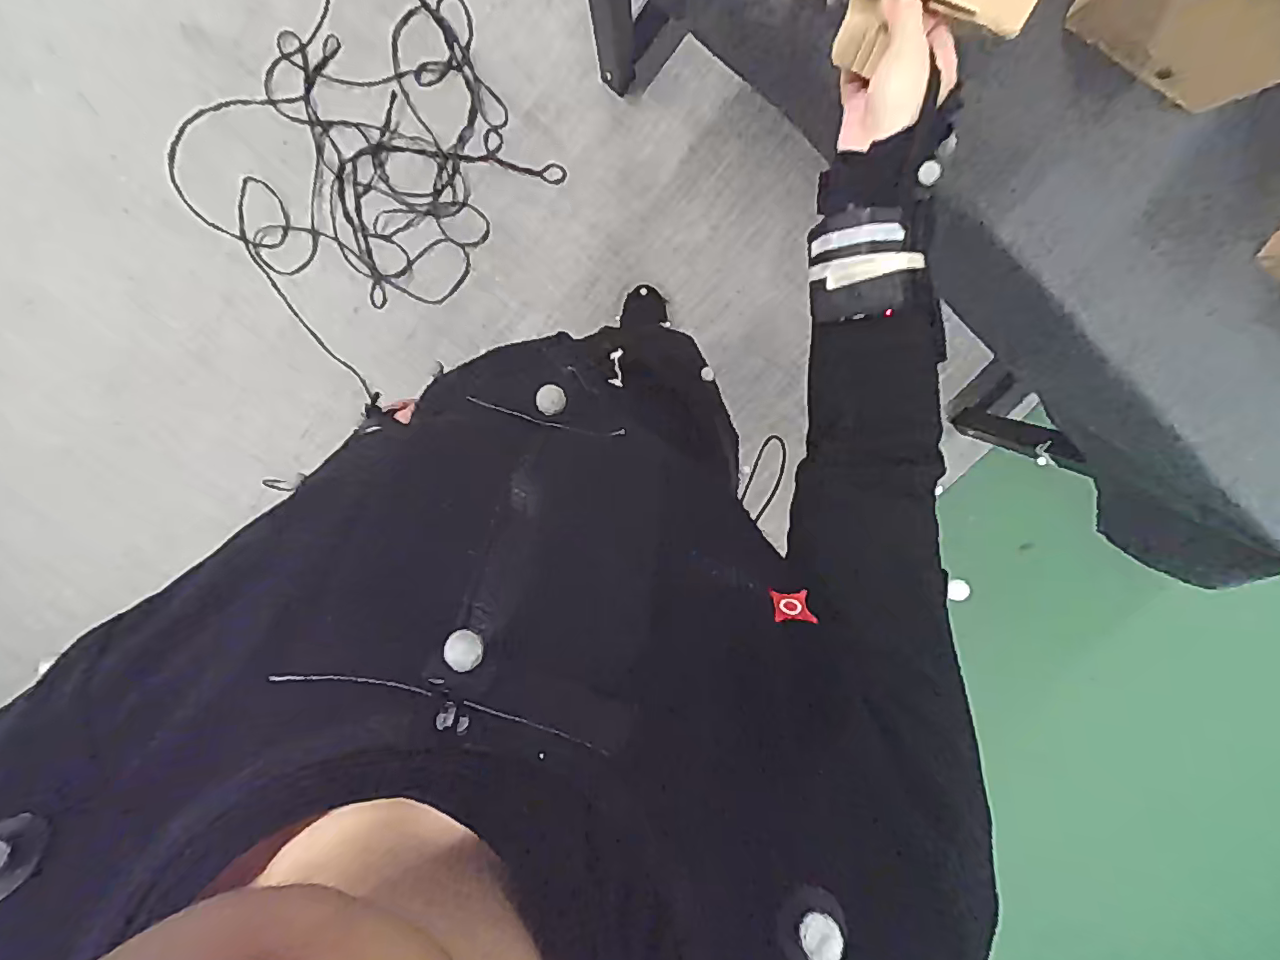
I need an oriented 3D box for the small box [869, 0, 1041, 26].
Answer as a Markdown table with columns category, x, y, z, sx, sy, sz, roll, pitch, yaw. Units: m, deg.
| category | x | y | z | sx | sy | sz | roll | pitch | yaw |
| --- | --- | --- | --- | --- | --- | --- | --- | --- | --- |
| small box | 0.188 | -0.412 | 0.325 | 0.168 | 0.176 | 0.179 | 16 | 130 | -8 |
